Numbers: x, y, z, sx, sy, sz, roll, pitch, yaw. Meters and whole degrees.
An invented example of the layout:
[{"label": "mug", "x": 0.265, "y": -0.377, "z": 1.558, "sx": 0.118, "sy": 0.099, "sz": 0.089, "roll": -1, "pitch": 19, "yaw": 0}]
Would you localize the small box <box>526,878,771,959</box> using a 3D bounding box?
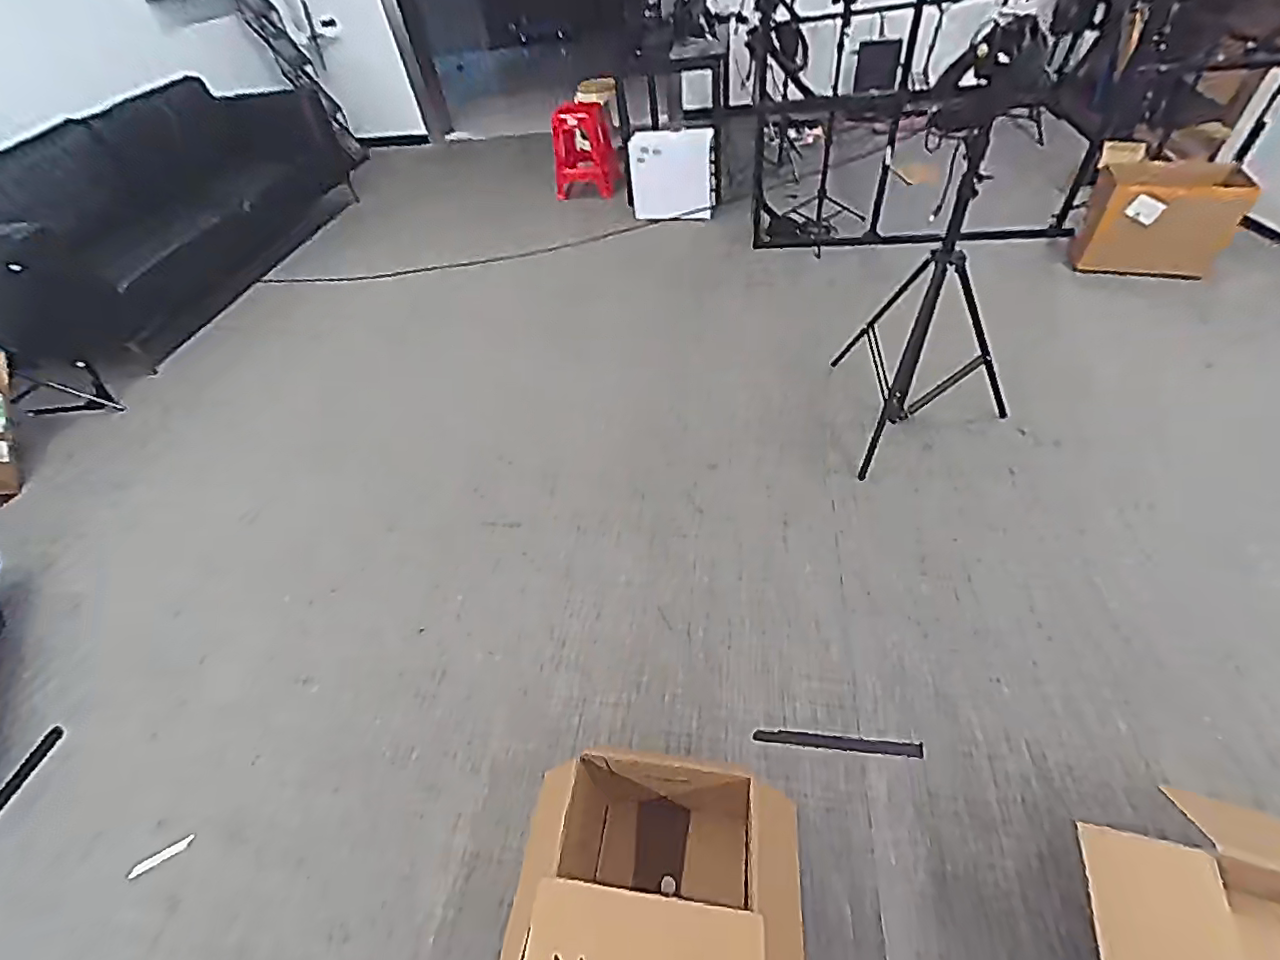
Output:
[{"label": "small box", "x": 0.006, "y": 0.428, "z": 0.416, "sx": 0.179, "sy": 0.176, "sz": 0.168, "roll": 2, "pitch": 49, "yaw": 12}]
